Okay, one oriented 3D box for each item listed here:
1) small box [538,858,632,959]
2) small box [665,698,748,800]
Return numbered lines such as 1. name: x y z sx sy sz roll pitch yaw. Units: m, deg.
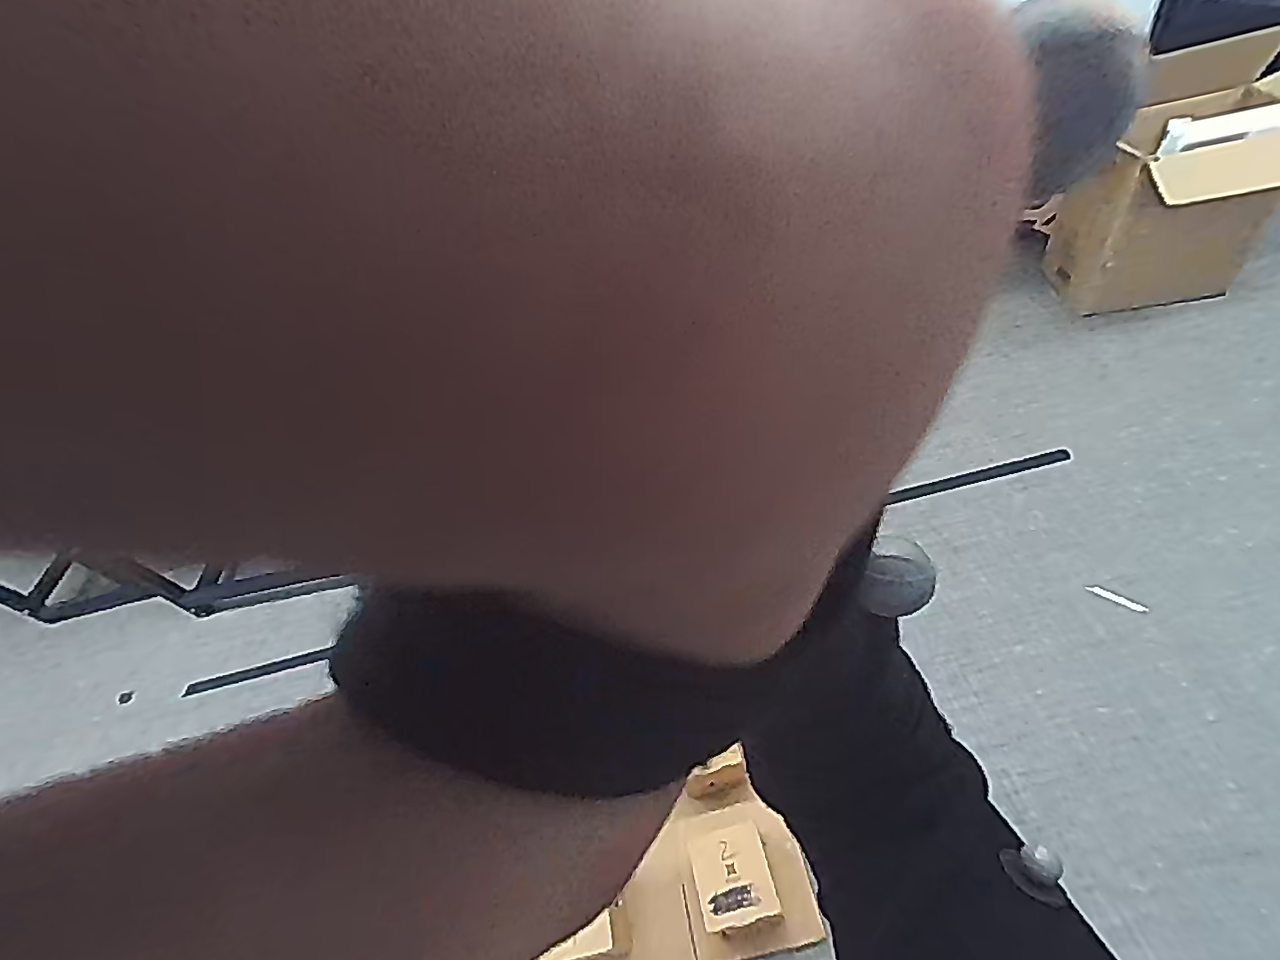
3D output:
1. small box: -0.126 1.009 1.253 0.168 0.176 0.179 -17 47 3
2. small box: 0.177 0.713 1.430 0.168 0.176 0.179 -19 46 1
